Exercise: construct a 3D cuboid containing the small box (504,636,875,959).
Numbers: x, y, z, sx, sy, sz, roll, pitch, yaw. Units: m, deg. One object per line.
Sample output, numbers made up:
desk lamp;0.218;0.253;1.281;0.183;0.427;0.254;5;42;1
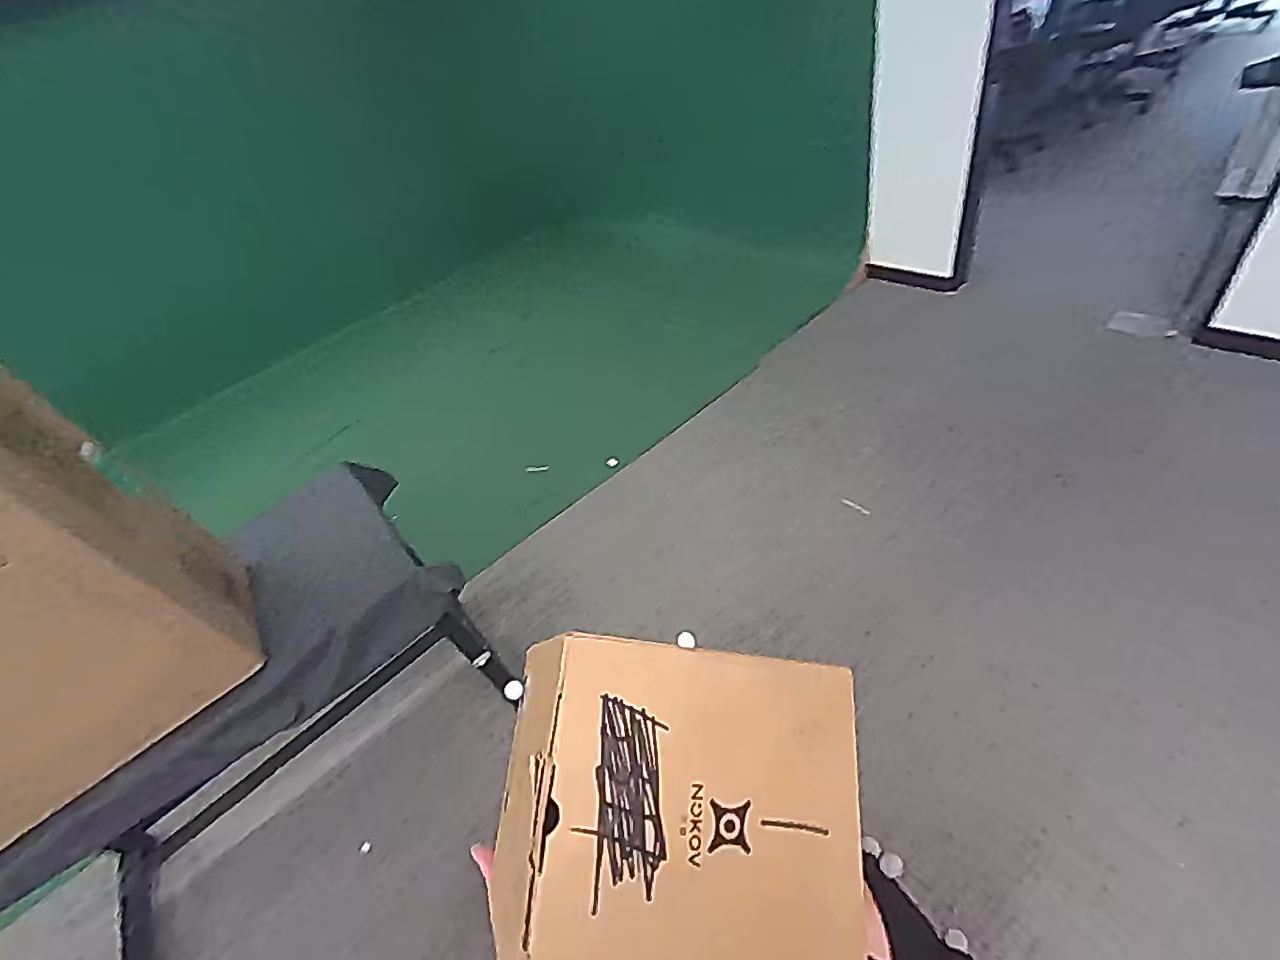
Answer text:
small box;0.015;0.201;0.346;0.179;0.176;0.168;10;66;-16
